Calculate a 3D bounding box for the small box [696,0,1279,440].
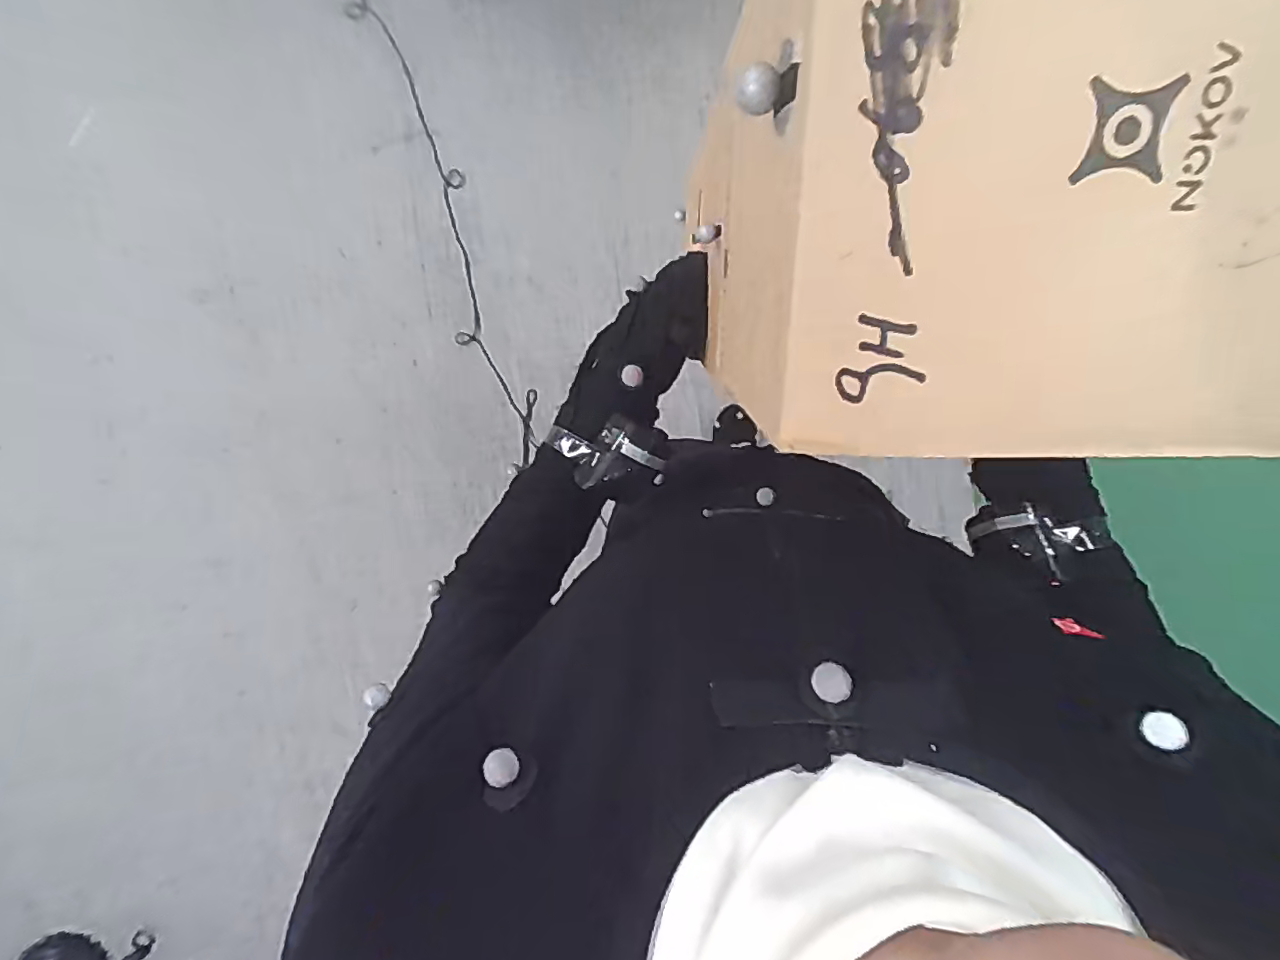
[{"bbox_3d":[0.119,-0.117,0.209,0.179,0.176,0.168,1,109,2],"label":"small box"}]
